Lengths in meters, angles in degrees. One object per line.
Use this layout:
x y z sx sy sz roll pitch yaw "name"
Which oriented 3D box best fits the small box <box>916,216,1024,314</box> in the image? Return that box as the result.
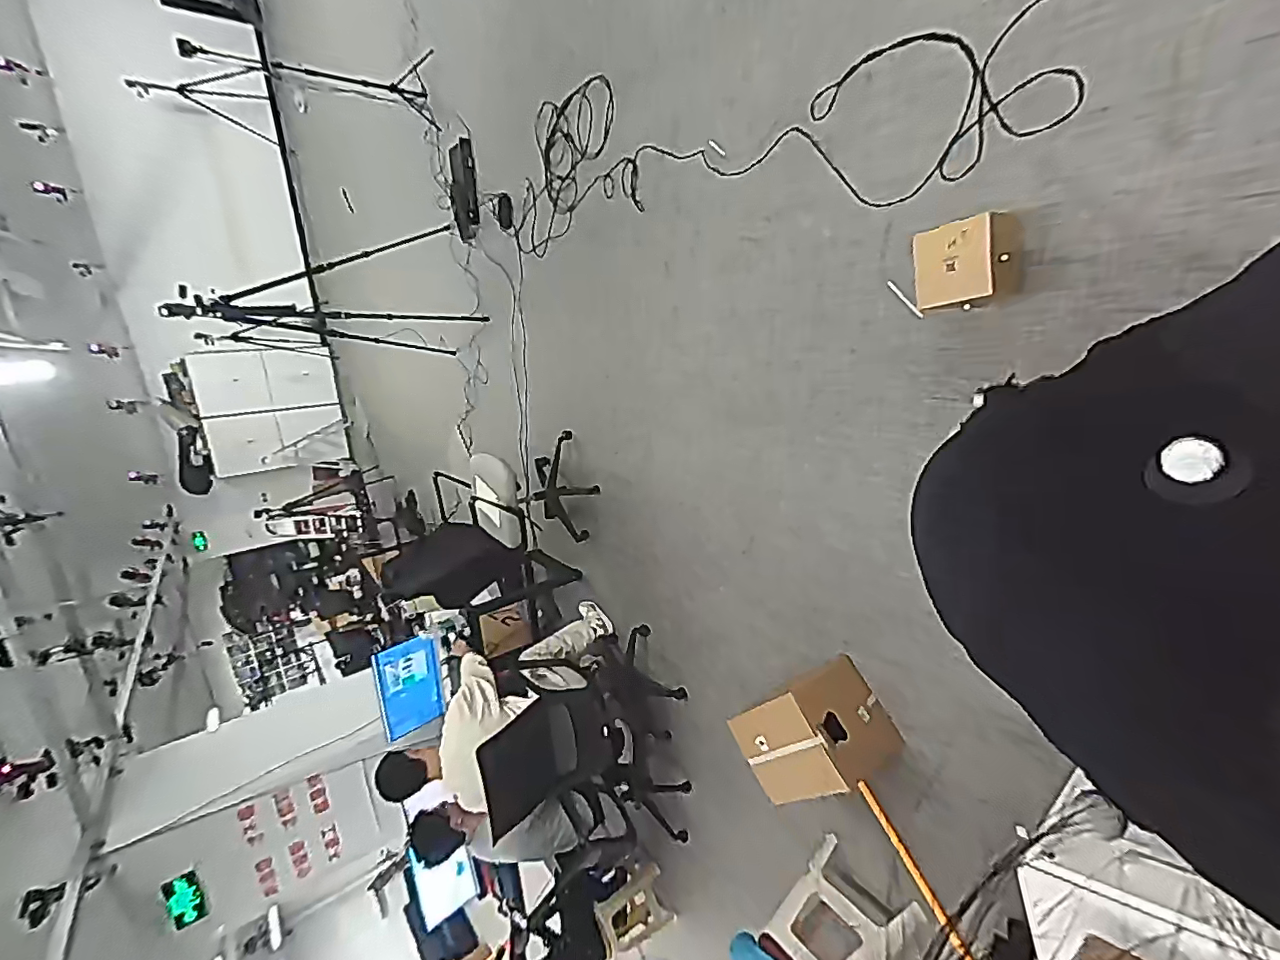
0.773 -0.496 1.262 0.168 0.176 0.179 4 105 53 "small box"
